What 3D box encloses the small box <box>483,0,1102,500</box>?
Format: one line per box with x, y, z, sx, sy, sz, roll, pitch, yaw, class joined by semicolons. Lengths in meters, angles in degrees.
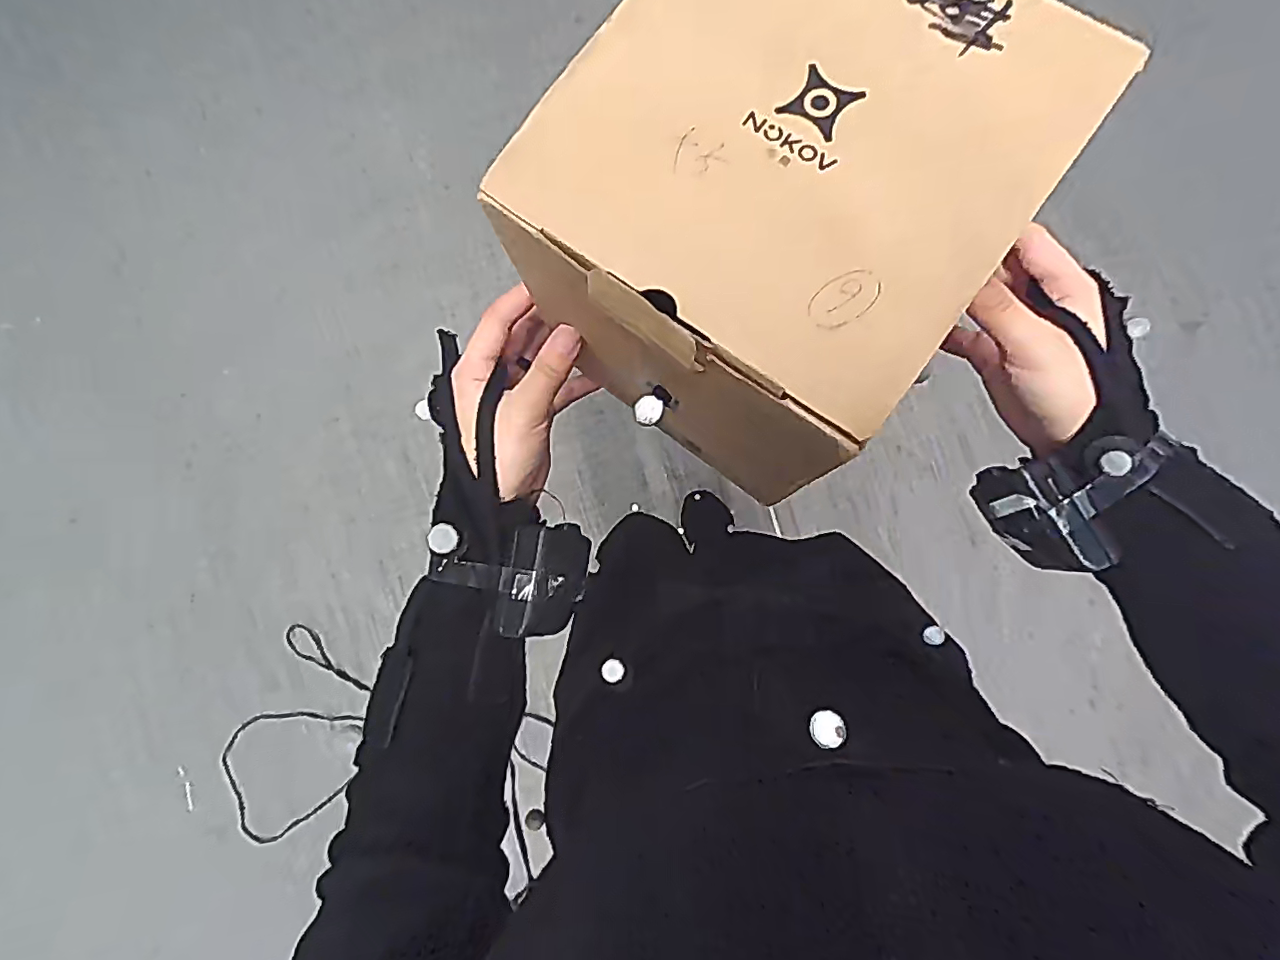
0.060;-0.106;0.280;0.168;0.176;0.179;36;85;9;small box
